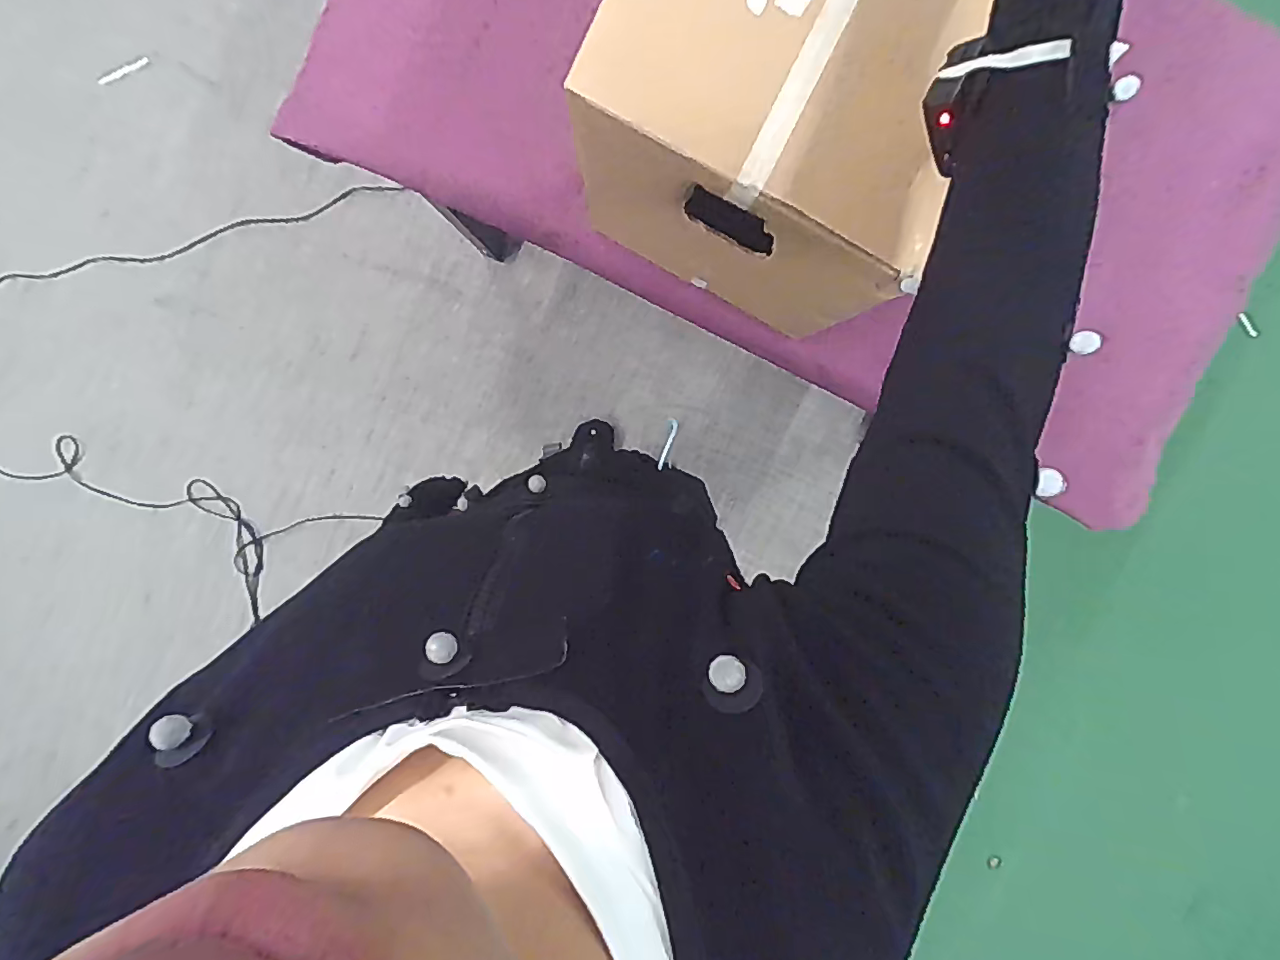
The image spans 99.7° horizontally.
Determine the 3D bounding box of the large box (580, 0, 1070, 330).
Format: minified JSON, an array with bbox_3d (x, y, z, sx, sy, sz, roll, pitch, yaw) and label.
[{"bbox_3d":[0.173,-0.422,0.555,0.320,0.320,0.408,28,97,-4],"label":"large box"}]
